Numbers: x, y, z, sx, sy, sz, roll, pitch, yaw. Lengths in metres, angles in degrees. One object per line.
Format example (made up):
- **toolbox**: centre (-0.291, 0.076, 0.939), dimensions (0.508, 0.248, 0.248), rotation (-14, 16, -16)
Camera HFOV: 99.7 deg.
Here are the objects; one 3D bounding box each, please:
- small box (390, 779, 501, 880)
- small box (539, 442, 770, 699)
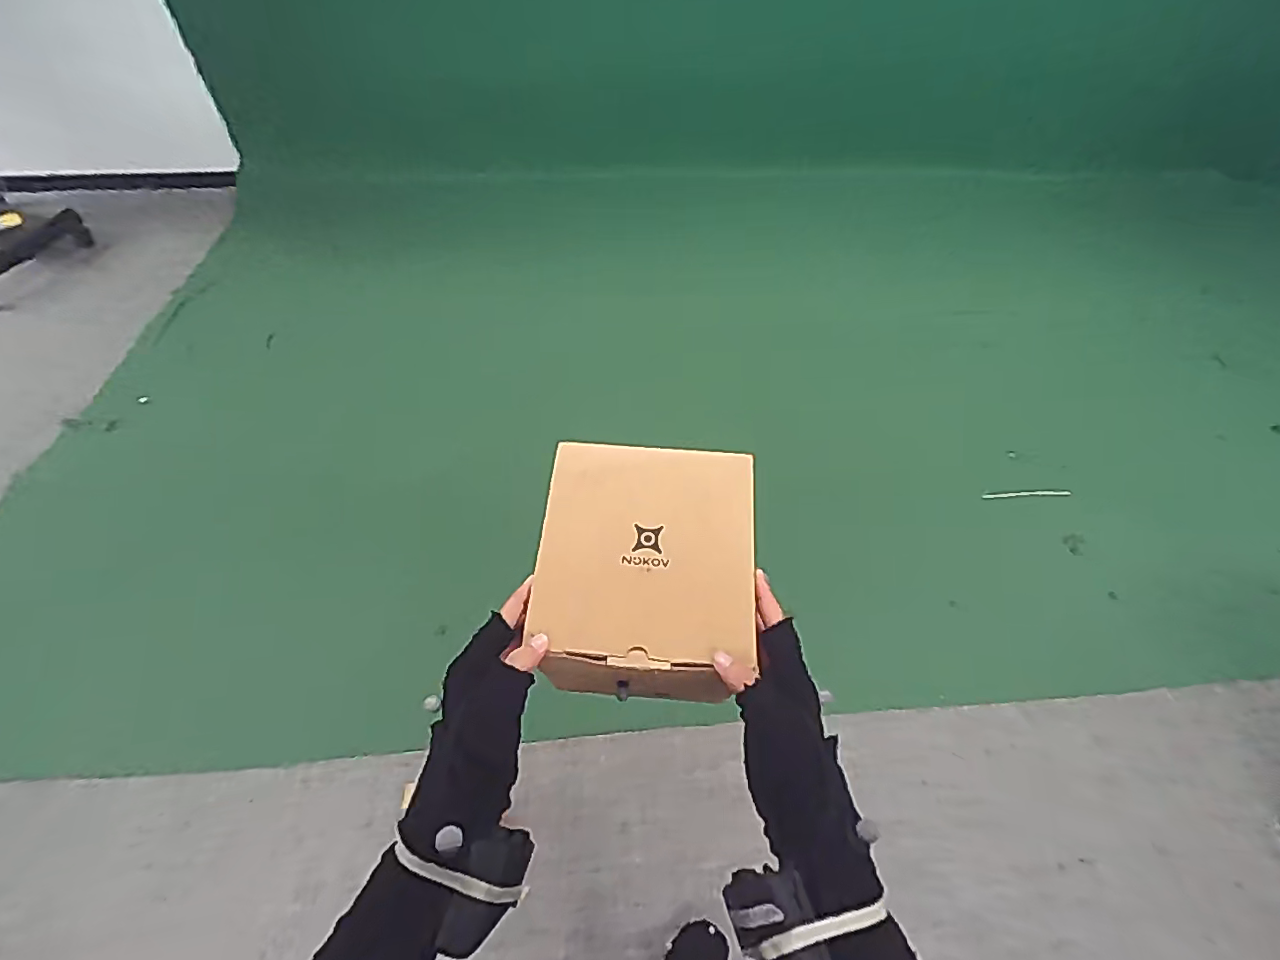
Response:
- **small box**: centre (-0.404, 0.752, 1.162), dimensions (0.179, 0.176, 0.168), rotation (-2, 52, -2)
- **small box**: centre (0.016, 0.087, 0.485), dimensions (0.168, 0.176, 0.179), rotation (4, 62, 3)
